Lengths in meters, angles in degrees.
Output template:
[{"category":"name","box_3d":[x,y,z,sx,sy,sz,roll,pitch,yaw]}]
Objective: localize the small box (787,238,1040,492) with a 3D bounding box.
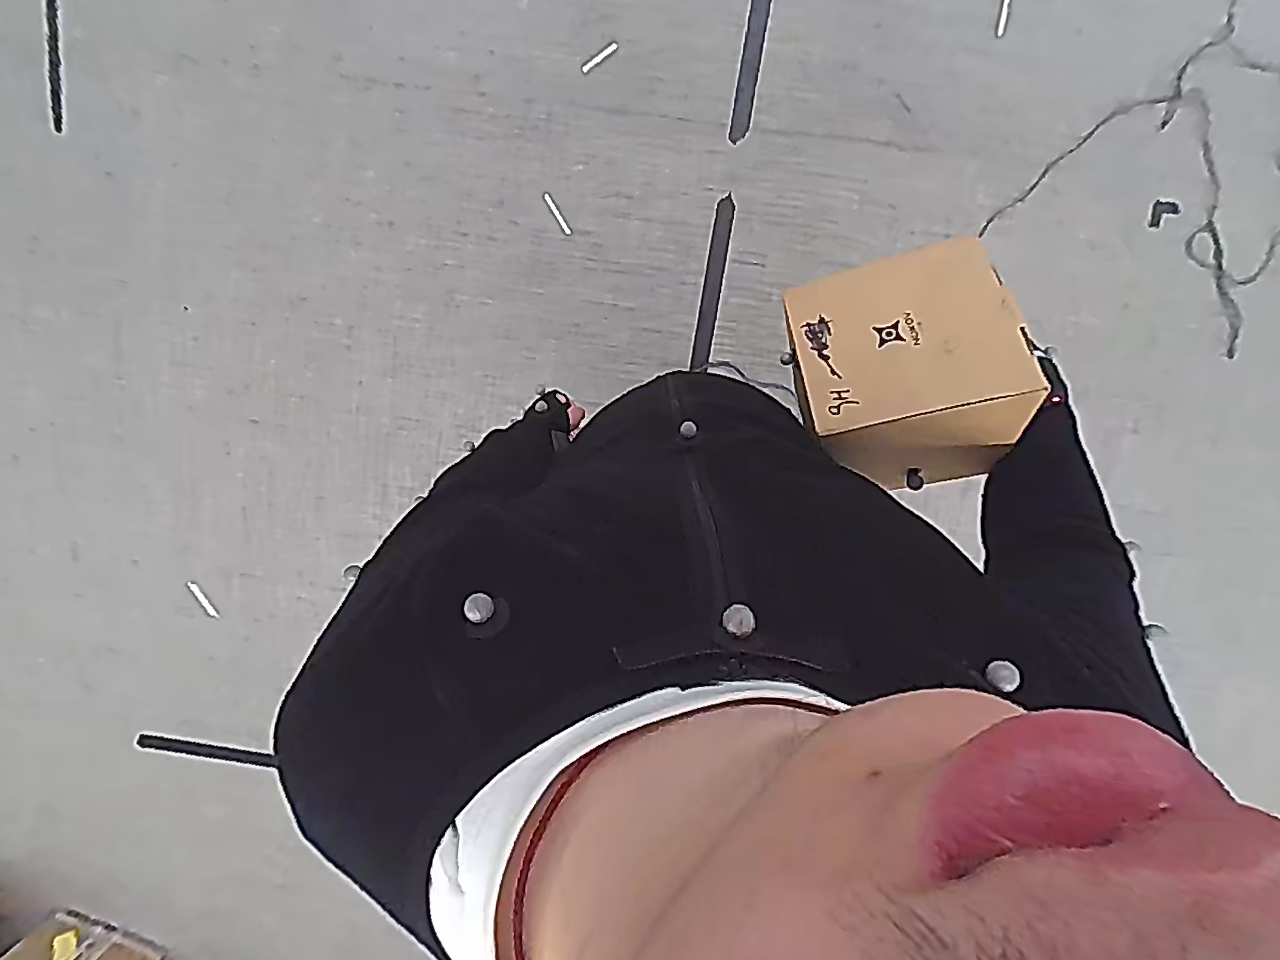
[{"category":"small box","box_3d":[0.256,-0.102,0.553,0.179,0.176,0.168,-12,64,15]}]
